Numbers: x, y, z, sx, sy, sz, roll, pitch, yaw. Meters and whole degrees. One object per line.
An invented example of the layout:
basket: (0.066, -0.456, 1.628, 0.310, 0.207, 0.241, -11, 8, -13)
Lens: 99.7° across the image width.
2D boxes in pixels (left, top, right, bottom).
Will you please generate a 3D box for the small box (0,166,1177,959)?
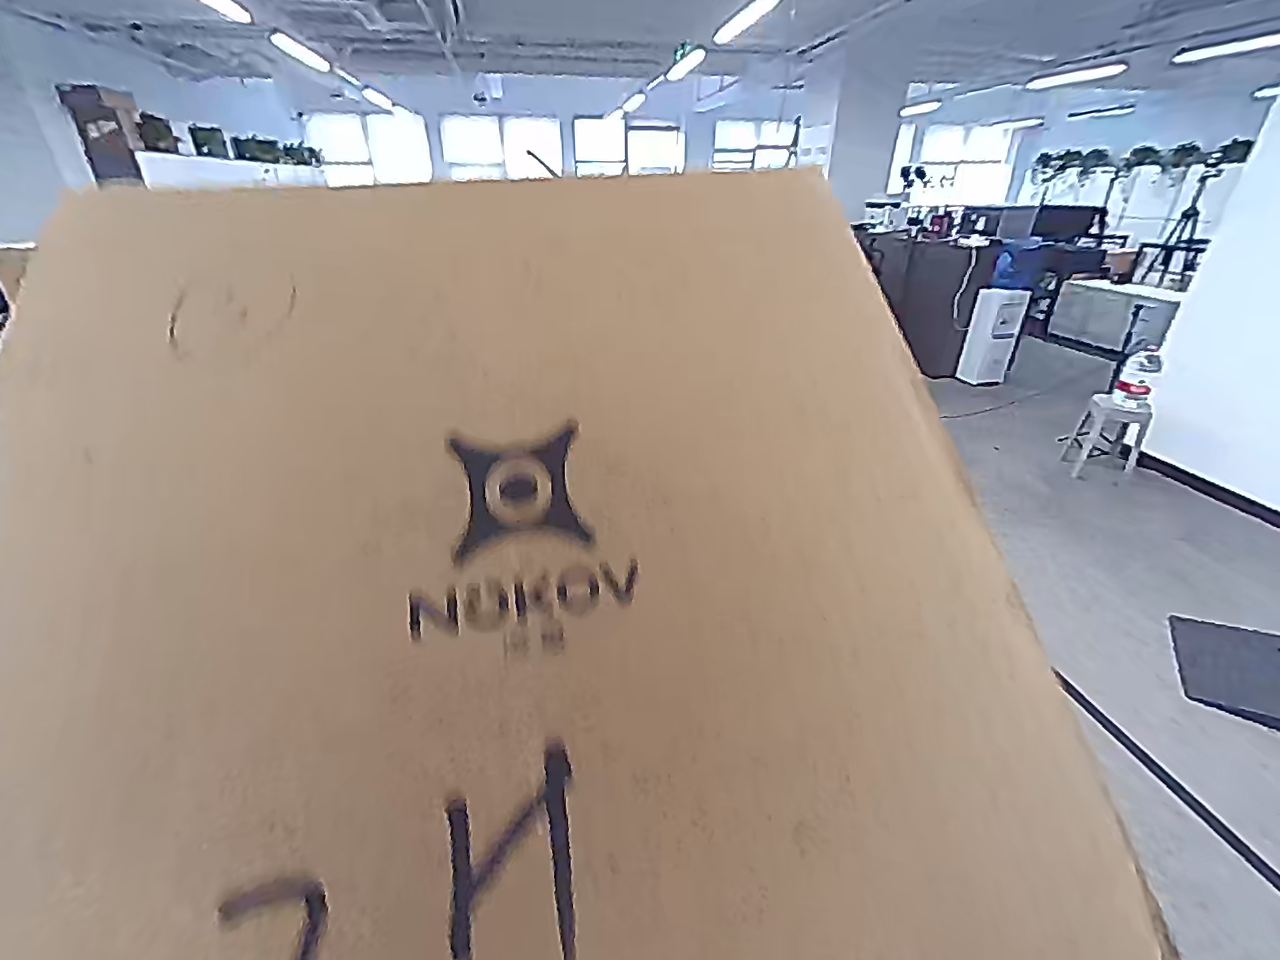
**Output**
small box: (-0.028, 0.044, 0.159, 0.168, 0.176, 0.179, -8, 68, -9)
